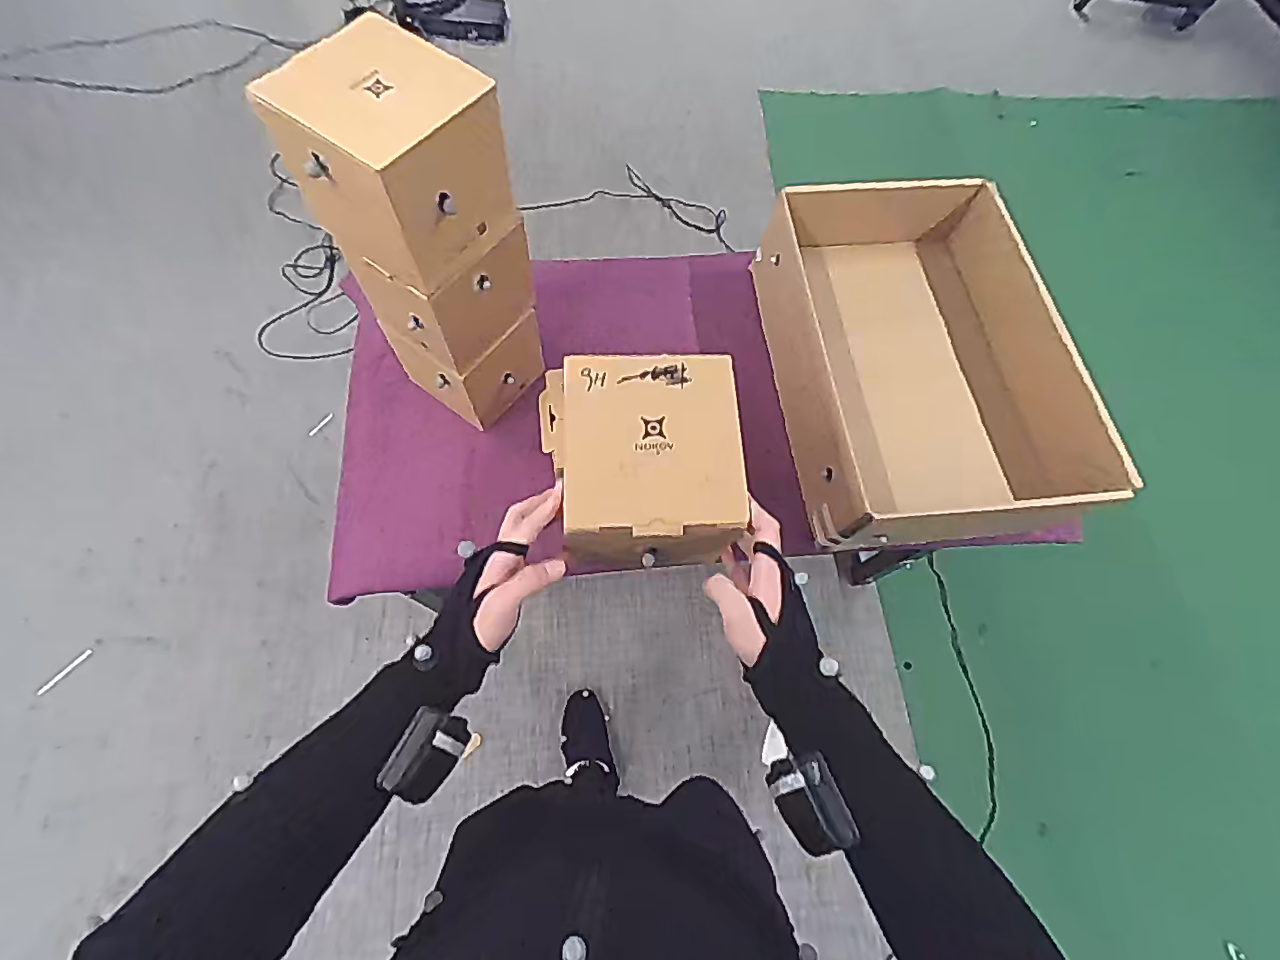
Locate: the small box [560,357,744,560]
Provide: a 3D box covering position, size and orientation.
[{"bbox_3d":[0.005,-0.011,0.575,0.168,0.176,0.179,-1,71,-5],"label":"small box"}]

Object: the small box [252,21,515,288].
[{"bbox_3d":[-0.261,-0.347,0.603,0.179,0.176,0.168,34,69,9],"label":"small box"}]

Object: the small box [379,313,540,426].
[{"bbox_3d":[-0.284,-0.214,0.898,0.179,0.176,0.168,35,68,10],"label":"small box"}]

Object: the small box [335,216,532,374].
[{"bbox_3d":[-0.267,-0.282,0.751,0.168,0.176,0.179,36,69,9],"label":"small box"}]

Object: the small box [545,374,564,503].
[{"bbox_3d":[-0.048,-0.055,0.844,0.179,0.176,0.168,-6,66,-7],"label":"small box"}]
